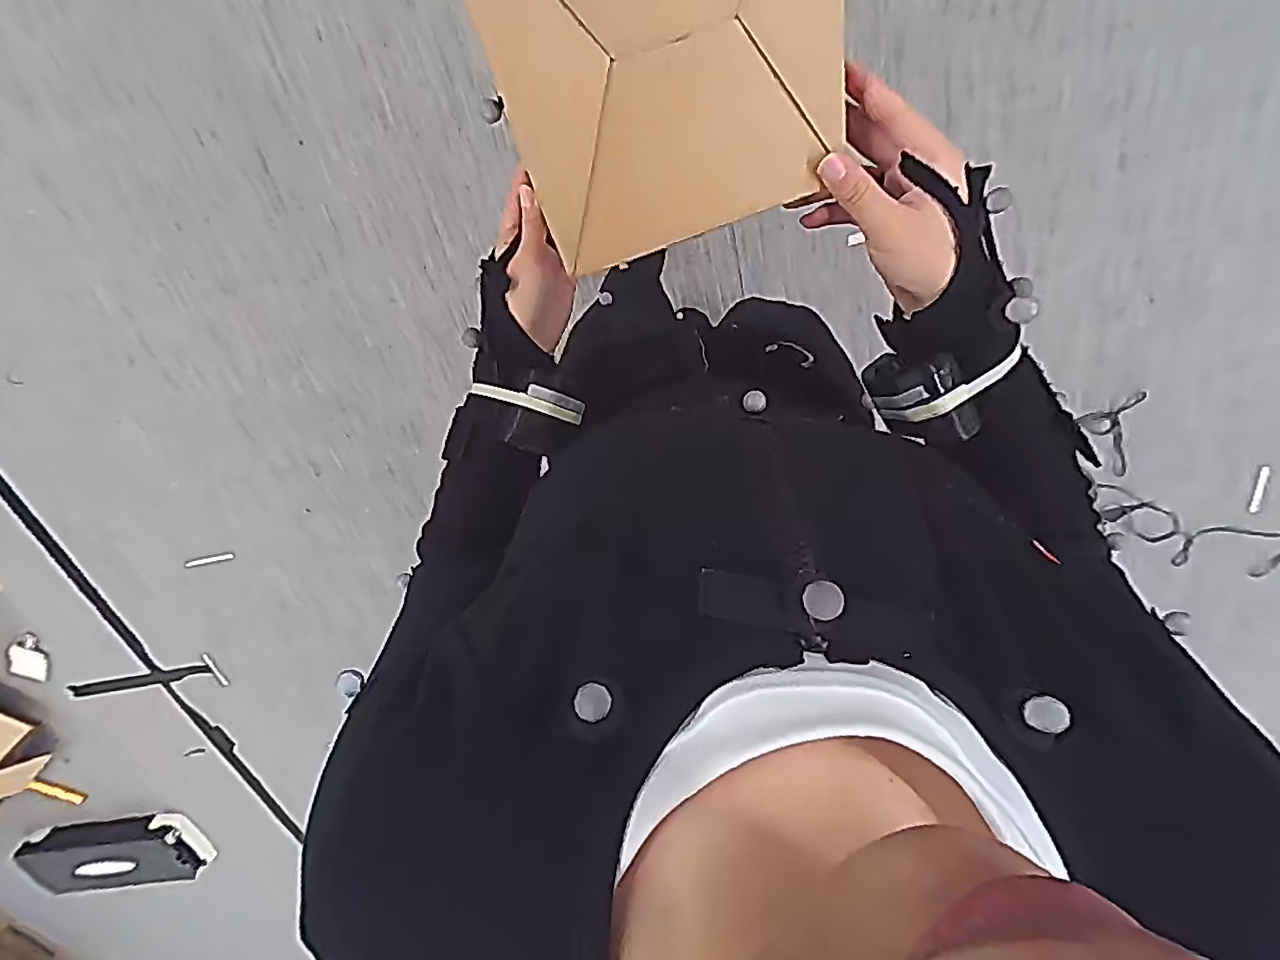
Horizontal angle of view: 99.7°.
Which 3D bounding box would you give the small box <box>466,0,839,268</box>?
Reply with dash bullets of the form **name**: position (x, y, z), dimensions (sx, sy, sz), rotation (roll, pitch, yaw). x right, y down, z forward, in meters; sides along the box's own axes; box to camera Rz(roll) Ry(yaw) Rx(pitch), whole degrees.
- **small box**: position (-0.002, -0.253, 0.310), dimensions (0.168, 0.176, 0.179), rotation (-20, 130, -1)
